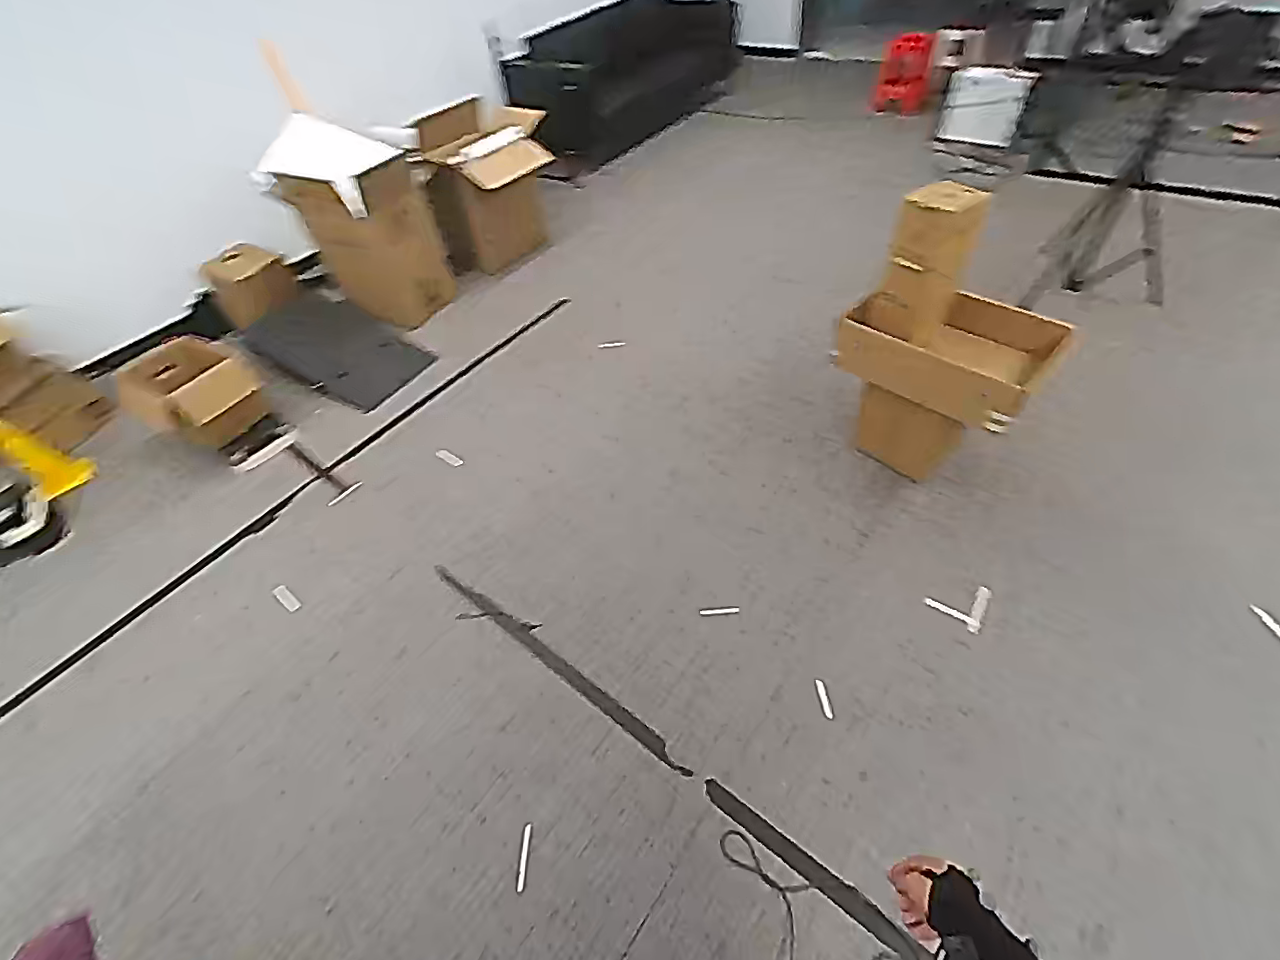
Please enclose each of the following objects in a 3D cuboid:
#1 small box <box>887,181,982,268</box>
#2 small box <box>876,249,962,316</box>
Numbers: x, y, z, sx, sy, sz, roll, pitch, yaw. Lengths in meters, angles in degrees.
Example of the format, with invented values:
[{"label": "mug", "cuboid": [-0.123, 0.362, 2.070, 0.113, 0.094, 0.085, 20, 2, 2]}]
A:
[{"label": "small box", "cuboid": [0.867, -0.760, 1.613, 0.179, 0.176, 0.168, -28, 51, -17]}, {"label": "small box", "cuboid": [0.885, -0.655, 1.738, 0.179, 0.176, 0.168, -31, 52, -20]}]
